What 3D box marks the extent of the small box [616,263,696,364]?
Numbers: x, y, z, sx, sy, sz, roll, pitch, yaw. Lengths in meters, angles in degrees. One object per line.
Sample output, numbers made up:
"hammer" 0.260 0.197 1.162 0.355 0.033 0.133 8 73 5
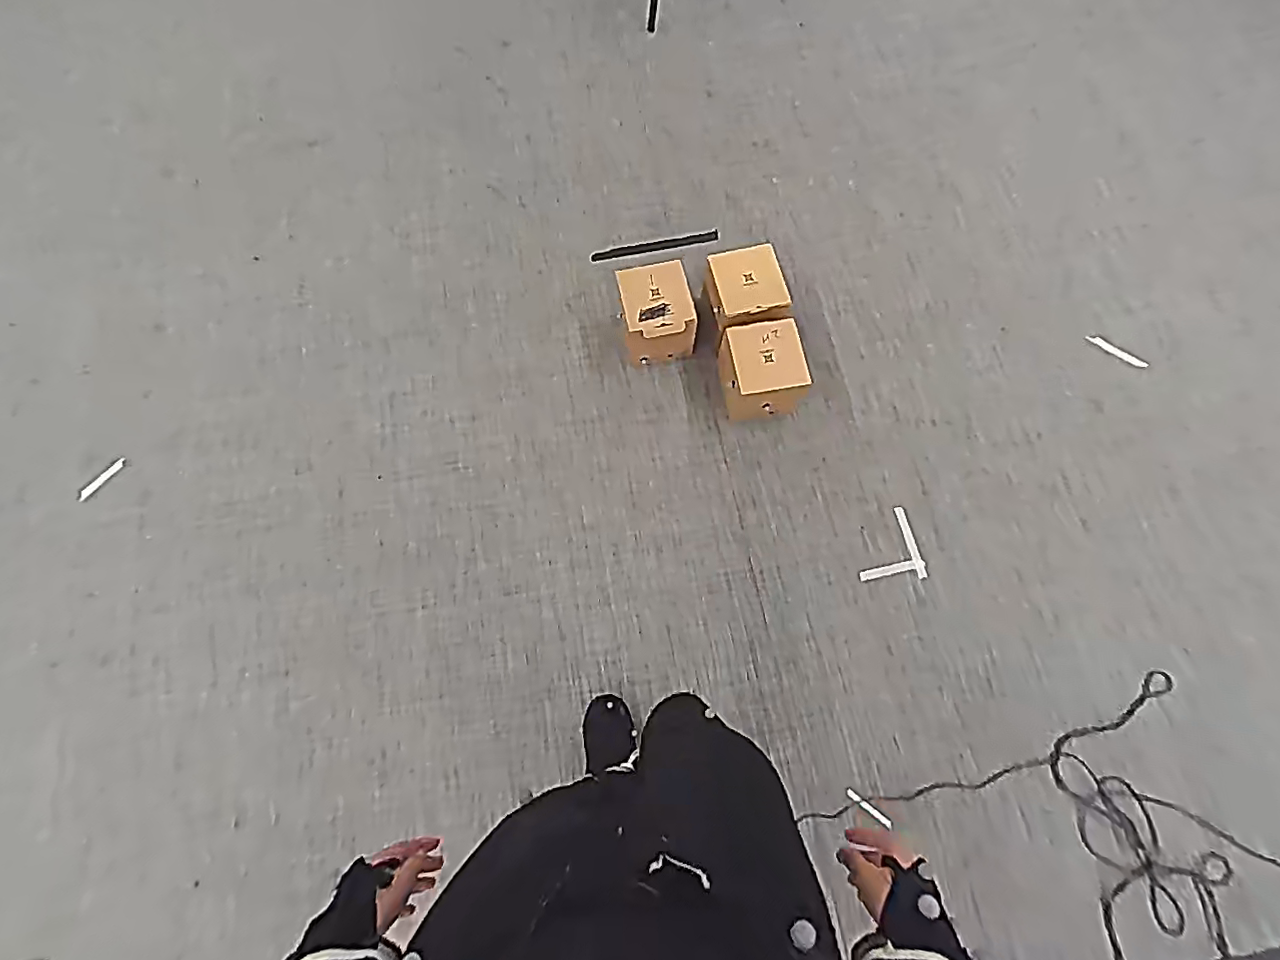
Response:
"small box" 0.038 -0.410 1.363 0.168 0.176 0.179 -12 74 -3
